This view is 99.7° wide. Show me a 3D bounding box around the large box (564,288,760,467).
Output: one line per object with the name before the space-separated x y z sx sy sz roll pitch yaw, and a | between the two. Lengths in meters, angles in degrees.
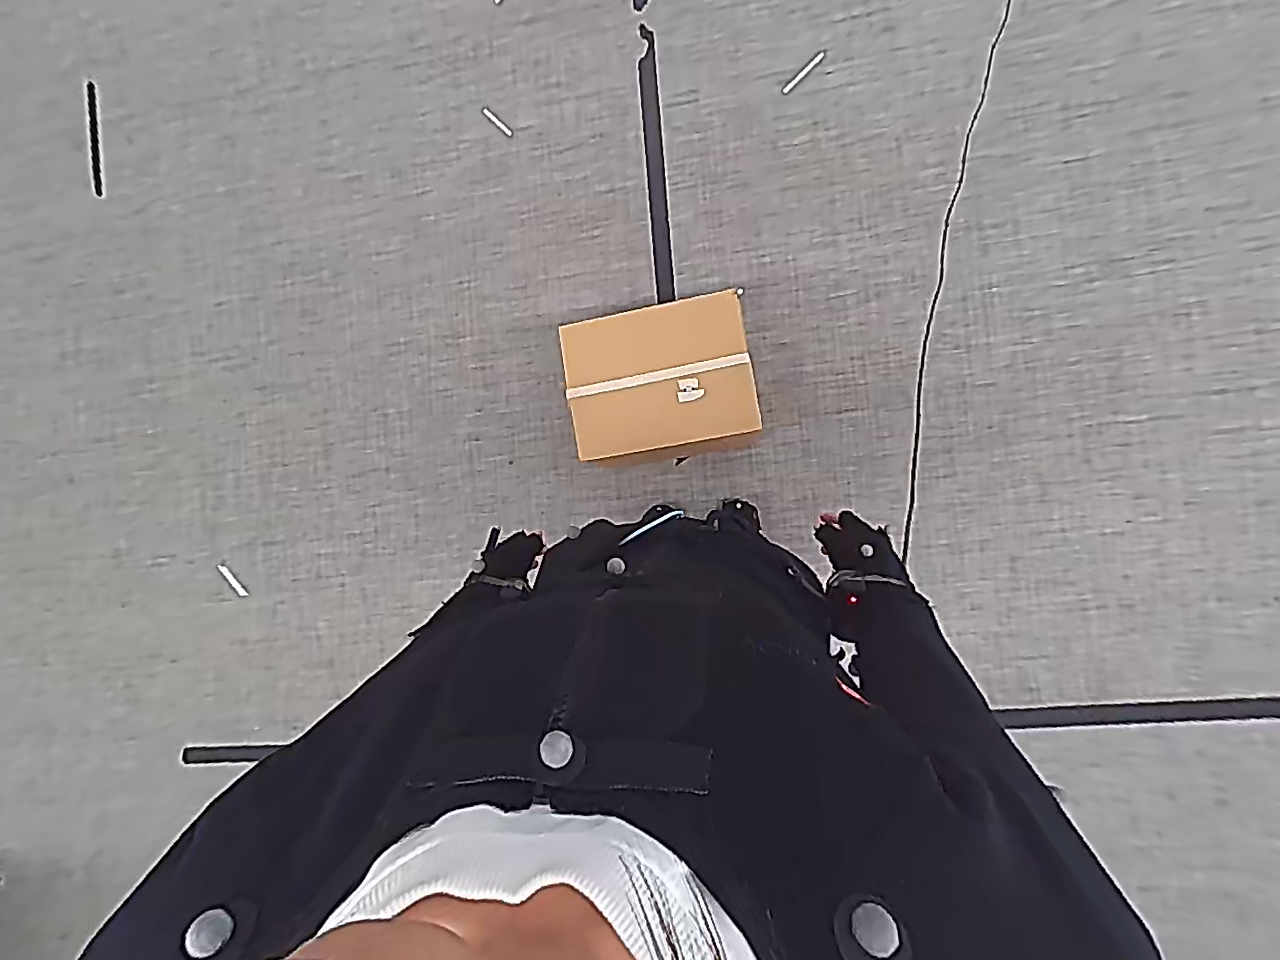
large box | 0.063 -0.227 1.342 0.408 0.320 0.320 -10 87 8
